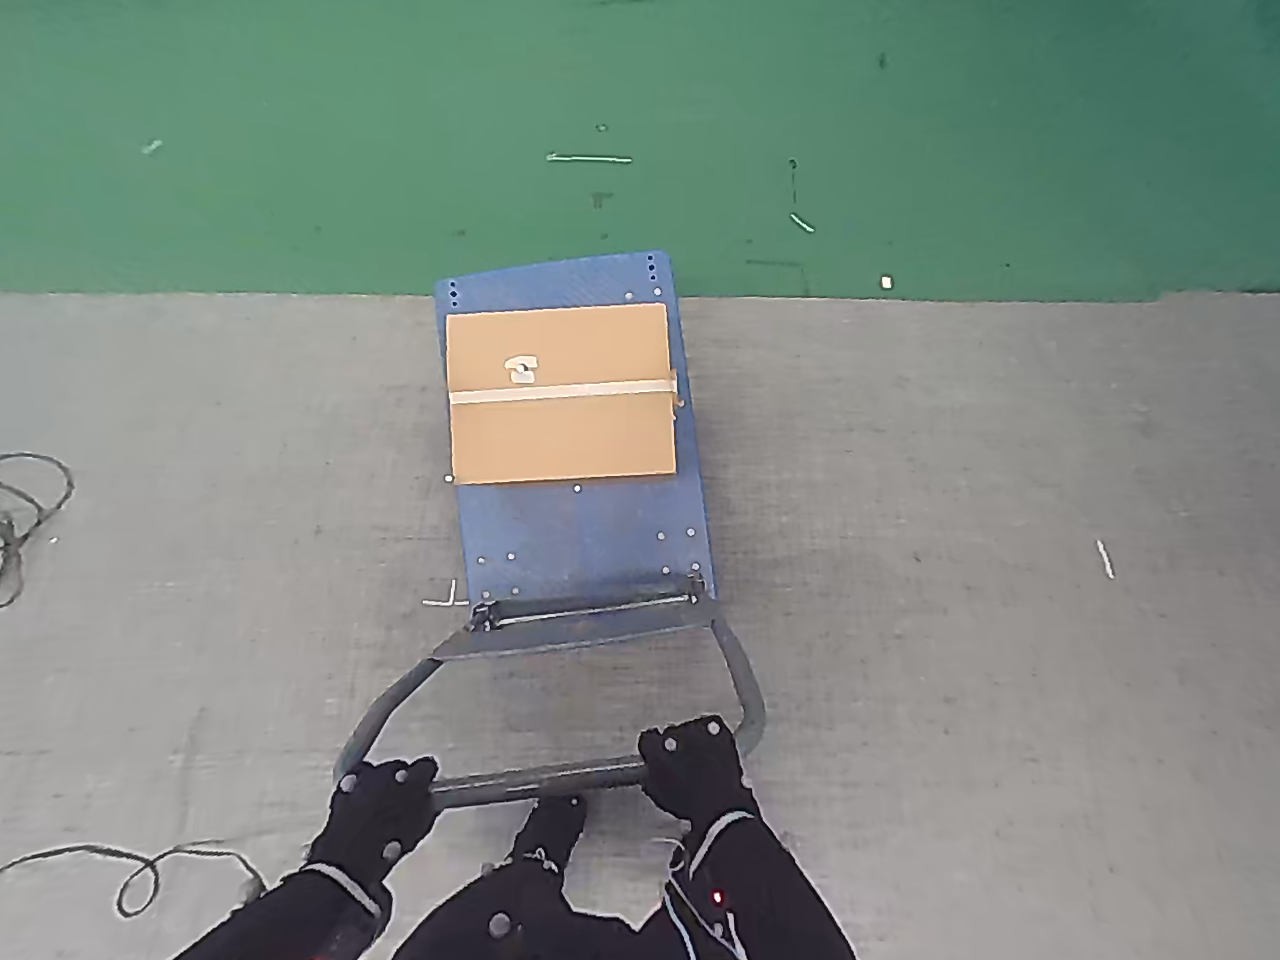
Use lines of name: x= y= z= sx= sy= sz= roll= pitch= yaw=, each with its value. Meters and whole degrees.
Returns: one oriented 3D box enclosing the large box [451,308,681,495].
large box: x=-0.131 y=-0.137 z=1.126 sx=0.408 sy=0.320 sz=0.320 roll=-4 pitch=87 yaw=2
